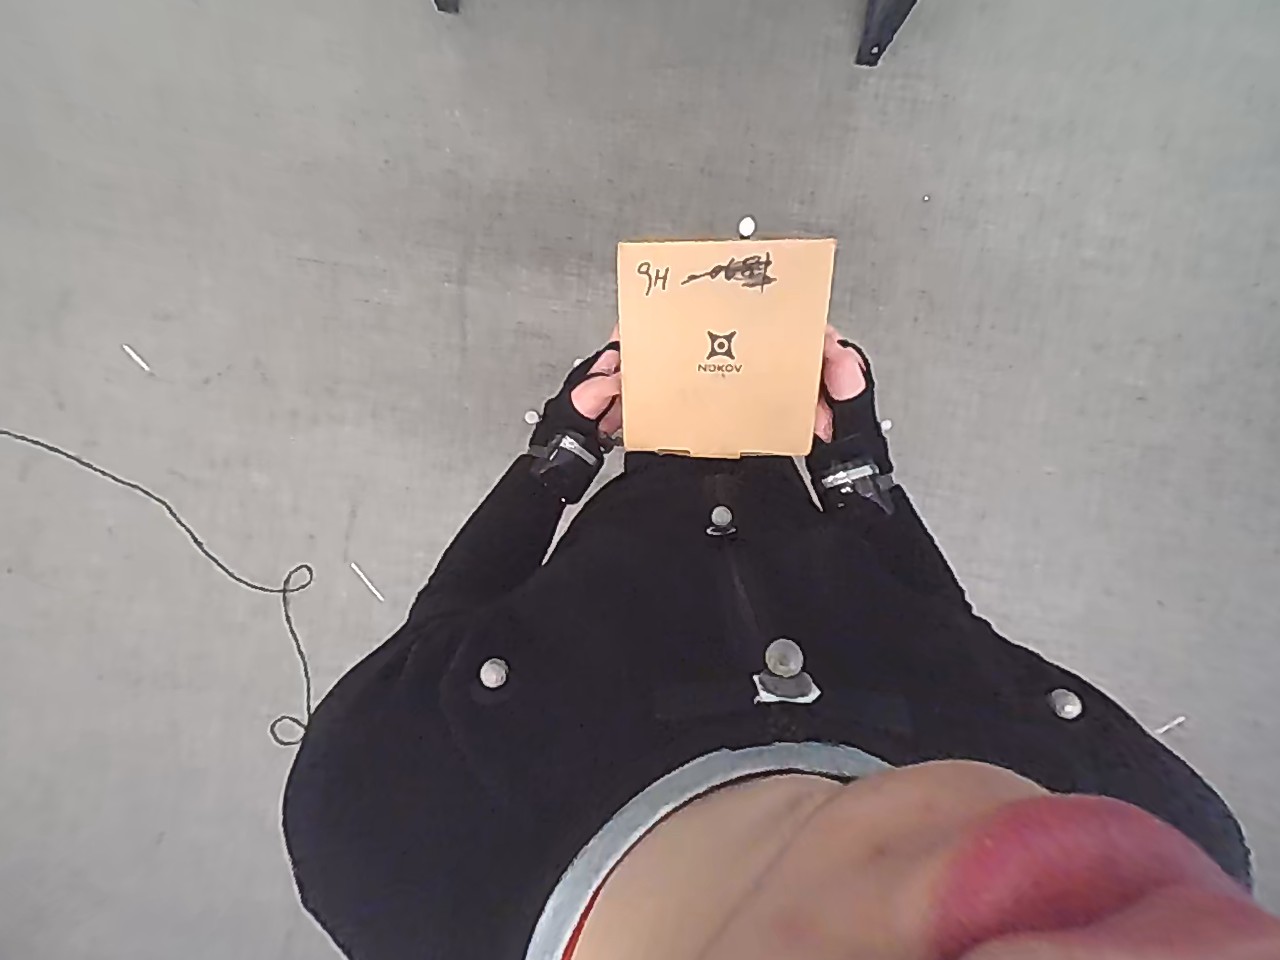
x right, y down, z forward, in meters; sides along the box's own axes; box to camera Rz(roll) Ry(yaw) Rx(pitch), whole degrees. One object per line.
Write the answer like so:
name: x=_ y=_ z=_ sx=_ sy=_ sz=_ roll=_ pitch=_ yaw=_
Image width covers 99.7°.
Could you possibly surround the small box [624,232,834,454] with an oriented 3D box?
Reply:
small box: x=0.077 y=-0.141 z=0.527 sx=0.168 sy=0.176 sz=0.179 roll=2 pitch=117 yaw=5
